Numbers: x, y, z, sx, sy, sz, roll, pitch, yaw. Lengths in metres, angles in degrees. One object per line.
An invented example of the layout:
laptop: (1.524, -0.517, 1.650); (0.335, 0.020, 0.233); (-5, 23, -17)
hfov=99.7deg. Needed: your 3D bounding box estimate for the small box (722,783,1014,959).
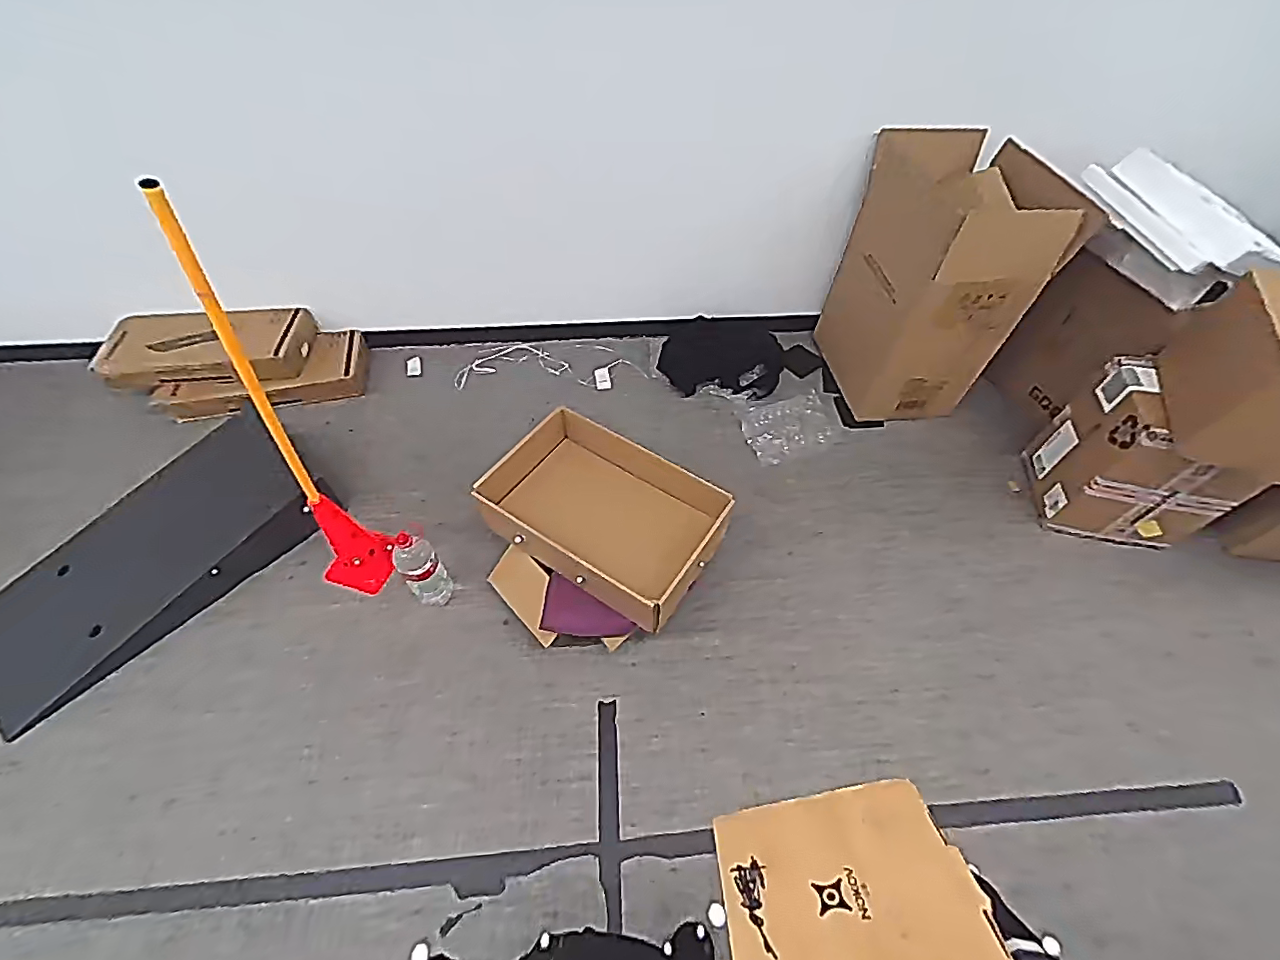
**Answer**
small box: (0.174, 0.382, 0.425); (0.179, 0.176, 0.168); (-13, 17, 4)
